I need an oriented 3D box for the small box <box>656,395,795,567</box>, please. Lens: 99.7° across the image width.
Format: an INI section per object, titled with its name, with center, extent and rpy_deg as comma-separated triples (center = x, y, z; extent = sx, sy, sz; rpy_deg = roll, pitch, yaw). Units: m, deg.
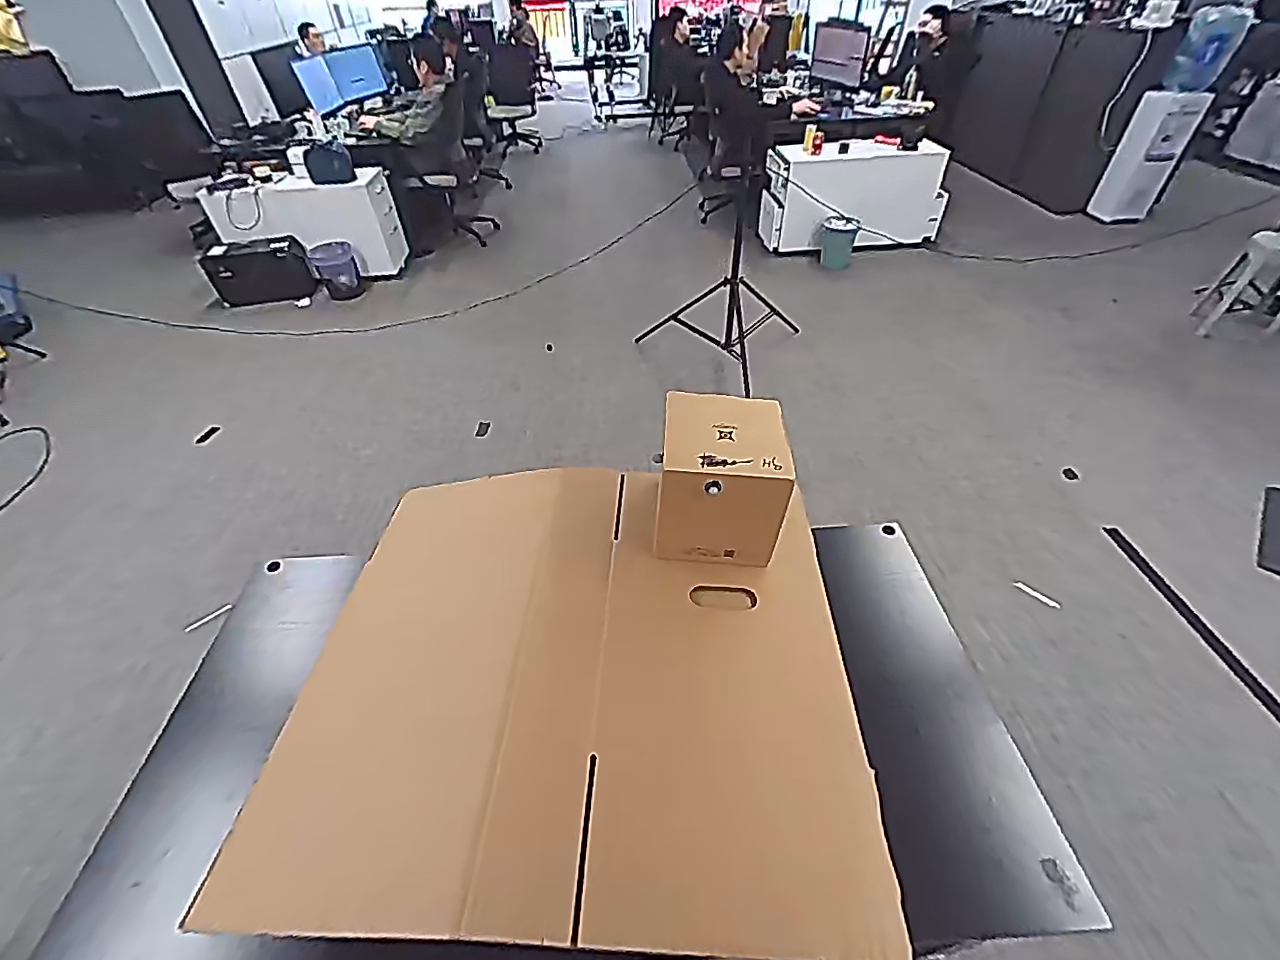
[small box]
center = 0.111, 0.000, 0.775
extent = 0.168, 0.176, 0.179
rpy_deg = 4, 41, 1
